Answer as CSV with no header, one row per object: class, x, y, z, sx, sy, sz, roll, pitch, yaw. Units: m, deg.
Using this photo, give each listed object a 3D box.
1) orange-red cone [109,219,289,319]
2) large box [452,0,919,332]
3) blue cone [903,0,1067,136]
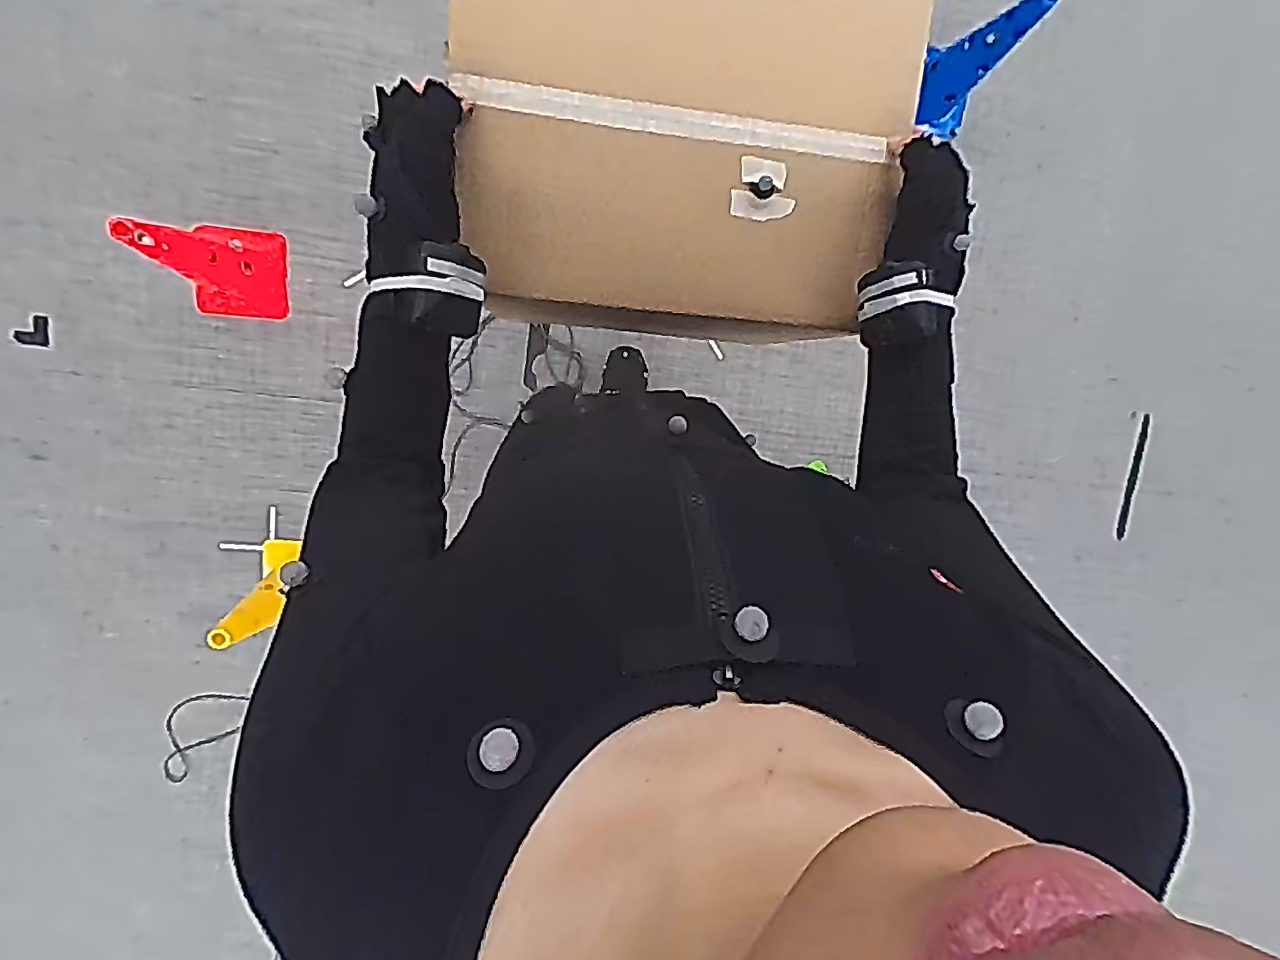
orange-red cone,-0.908,-0.456,1.097,0.198,0.360,0.199,4,100,-7
large box,0.022,-0.348,0.613,0.408,0.320,0.320,3,102,-9
blue cone,0.794,-0.987,1.248,0.192,0.380,0.193,9,98,-10
